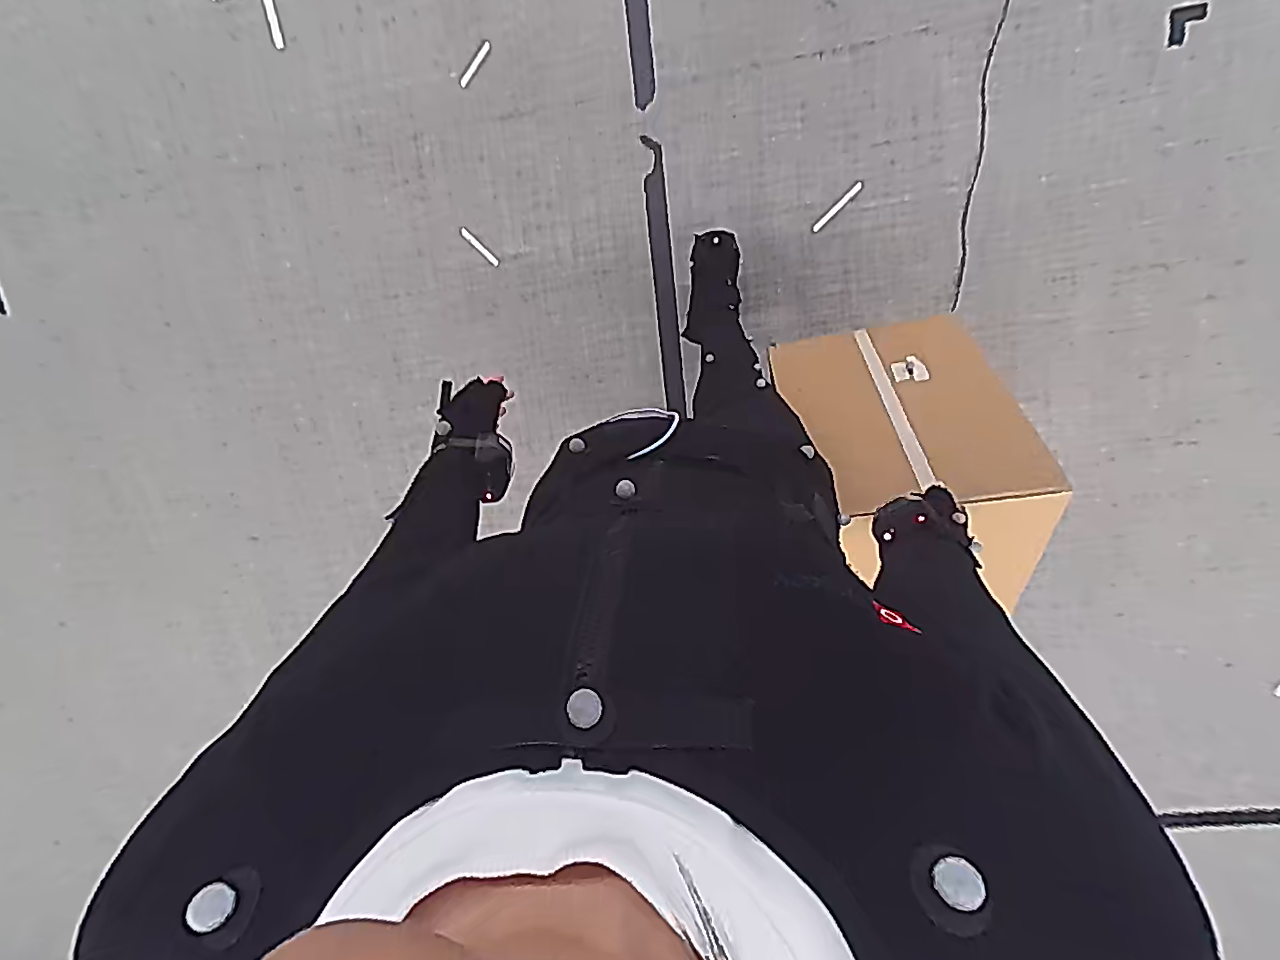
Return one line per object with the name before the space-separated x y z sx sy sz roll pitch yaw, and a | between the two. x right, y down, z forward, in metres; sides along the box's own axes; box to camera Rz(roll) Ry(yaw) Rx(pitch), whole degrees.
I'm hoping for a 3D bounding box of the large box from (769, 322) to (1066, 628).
large box | 0.414 -0.010 0.926 0.320 0.408 0.320 -7 134 10
